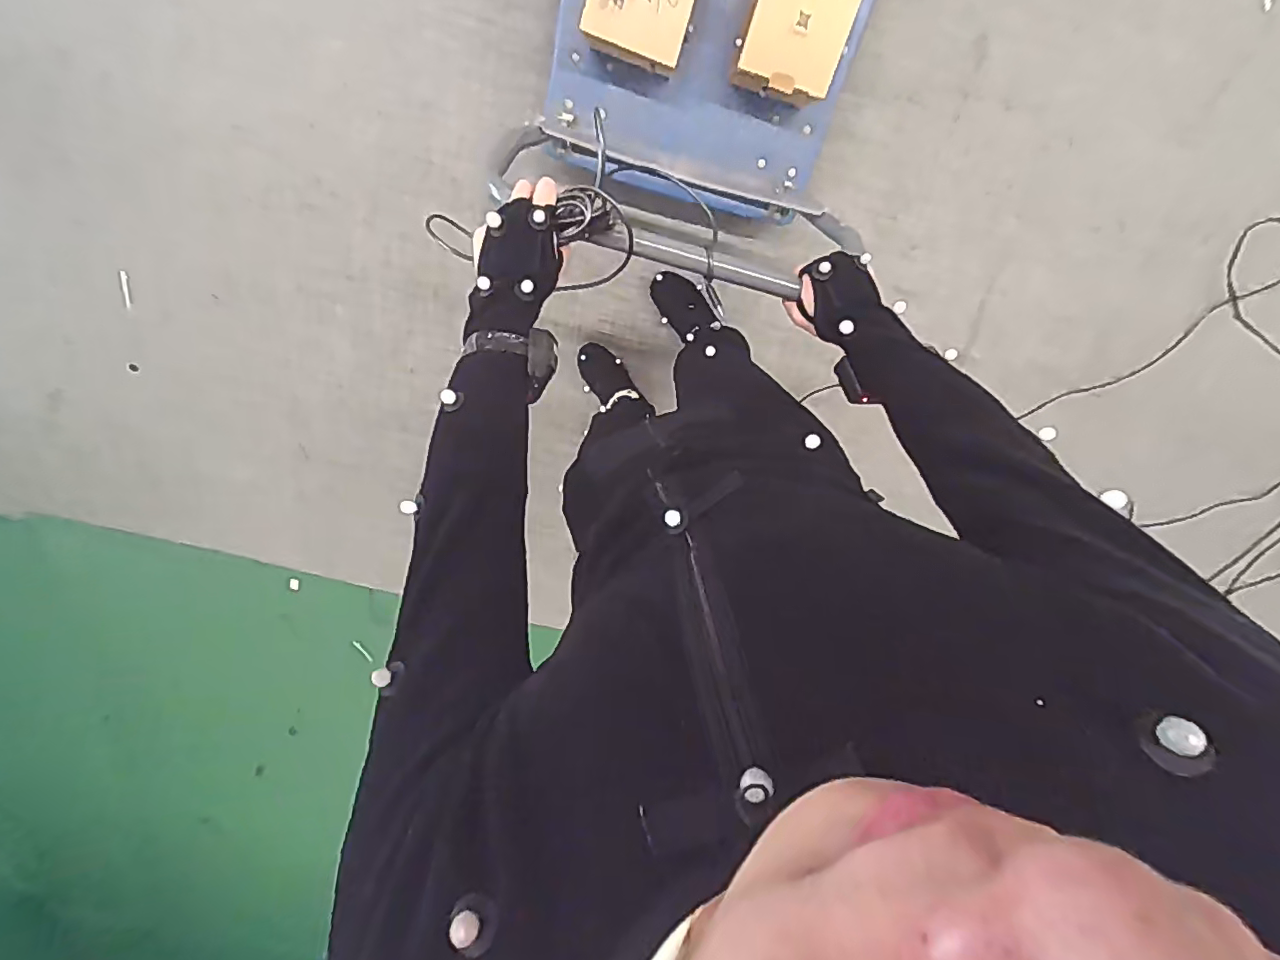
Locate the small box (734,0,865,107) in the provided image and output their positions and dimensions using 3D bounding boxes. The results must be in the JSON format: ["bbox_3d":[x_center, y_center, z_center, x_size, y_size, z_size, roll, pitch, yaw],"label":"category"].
[{"bbox_3d":[0.277,-0.803,0.976,0.168,0.176,0.179,14,121,-6],"label":"small box"}]
